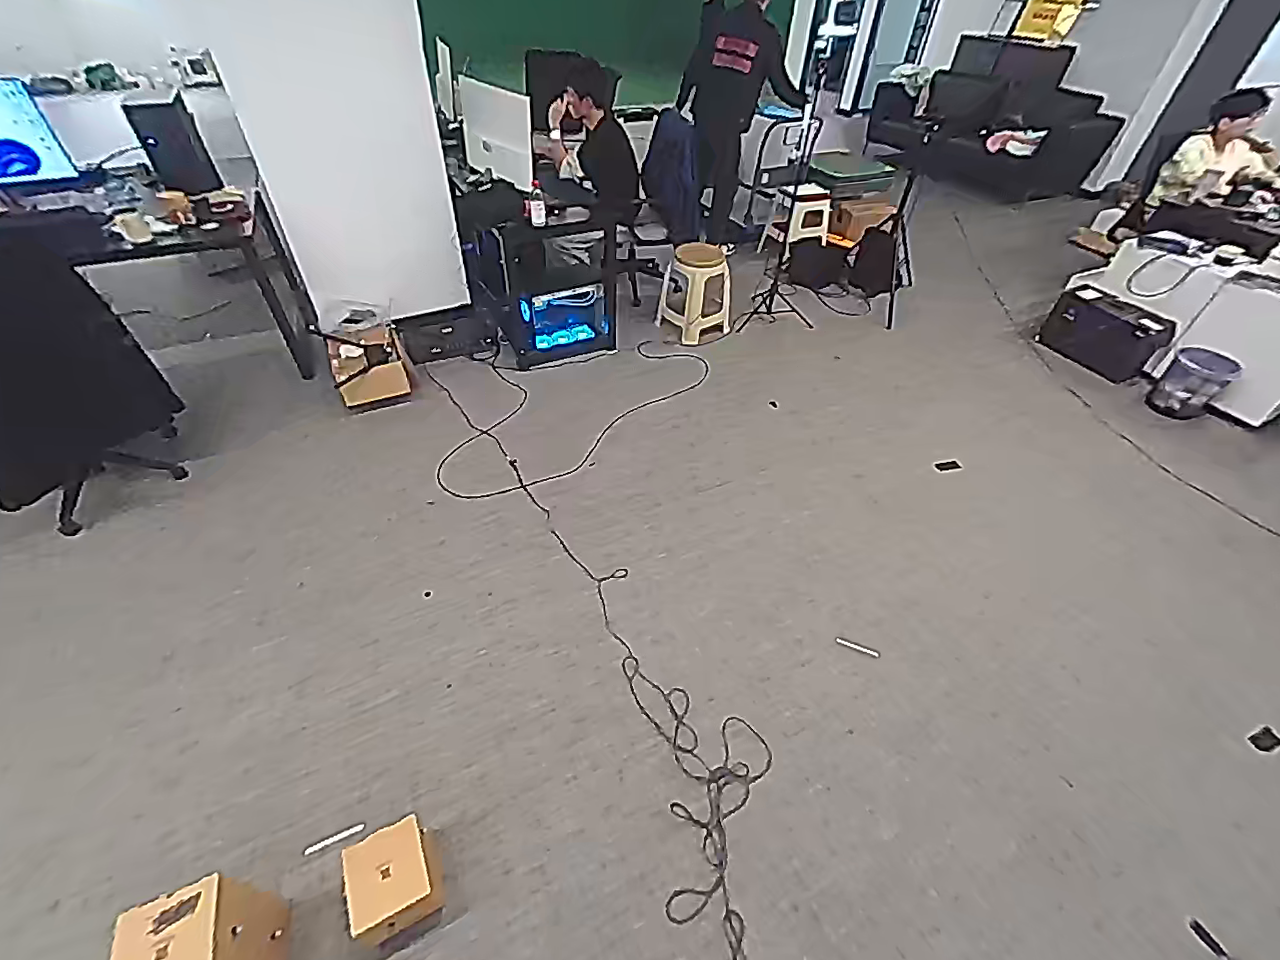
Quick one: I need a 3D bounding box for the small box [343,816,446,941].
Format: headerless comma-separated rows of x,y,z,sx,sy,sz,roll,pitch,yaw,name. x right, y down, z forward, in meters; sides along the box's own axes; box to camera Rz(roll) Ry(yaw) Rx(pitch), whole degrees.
-0.567,0.931,1.259,0.168,0.176,0.179,-19,48,-21,small box

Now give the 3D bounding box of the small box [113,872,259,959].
-0.862,0.901,1.036,0.168,0.176,0.179,-16,48,-18,small box
